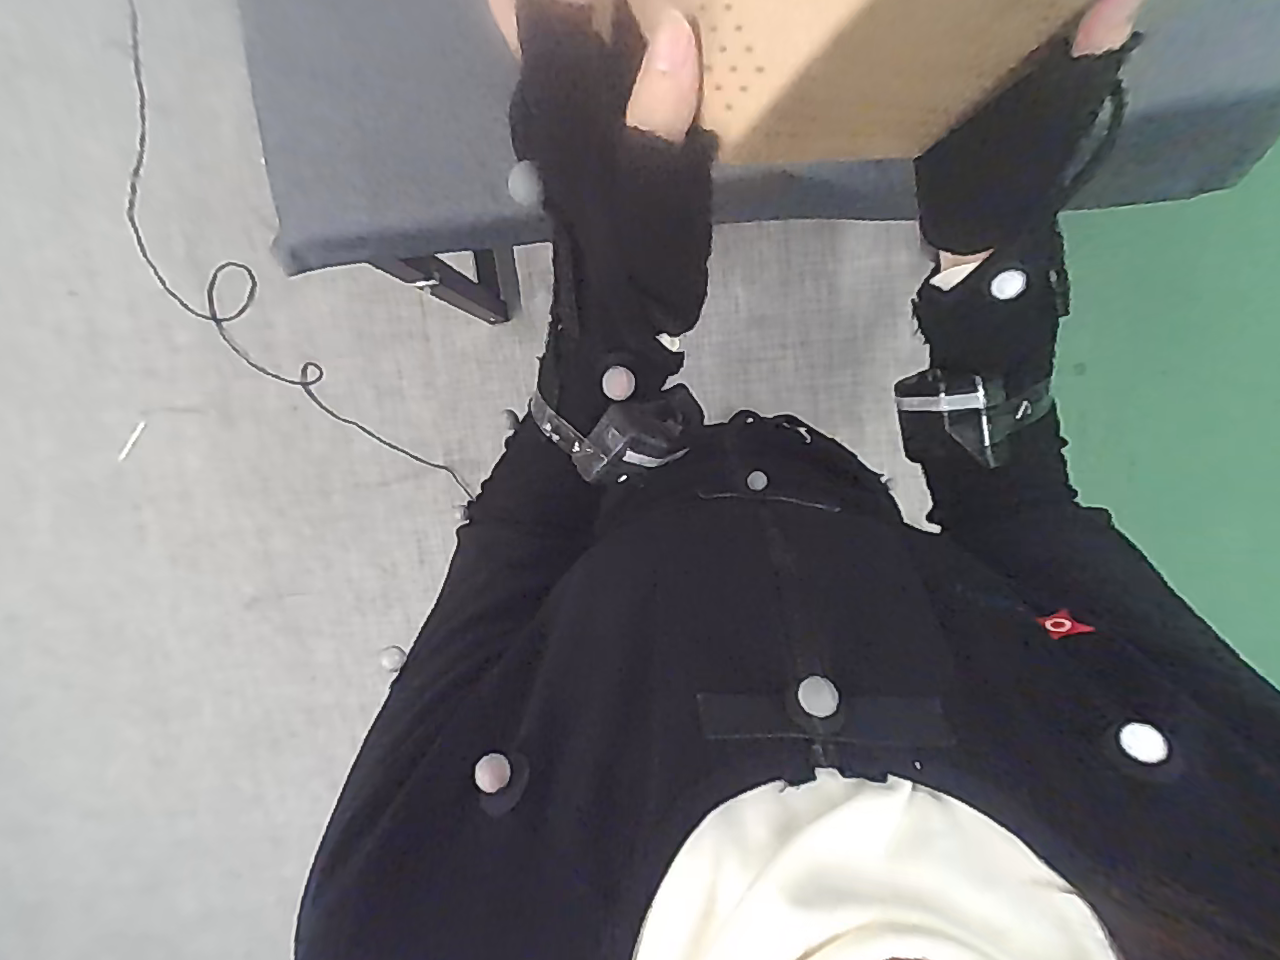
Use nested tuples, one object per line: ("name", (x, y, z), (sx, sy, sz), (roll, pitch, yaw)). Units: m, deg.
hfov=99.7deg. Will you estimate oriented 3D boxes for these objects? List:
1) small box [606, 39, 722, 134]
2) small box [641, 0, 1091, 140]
("small box", (0.056, -0.491, 0.563), (0.179, 0.176, 0.168), (-2, 96, 4))
("small box", (0.091, -0.233, 0.160), (0.179, 0.176, 0.168), (-30, 93, -37))
